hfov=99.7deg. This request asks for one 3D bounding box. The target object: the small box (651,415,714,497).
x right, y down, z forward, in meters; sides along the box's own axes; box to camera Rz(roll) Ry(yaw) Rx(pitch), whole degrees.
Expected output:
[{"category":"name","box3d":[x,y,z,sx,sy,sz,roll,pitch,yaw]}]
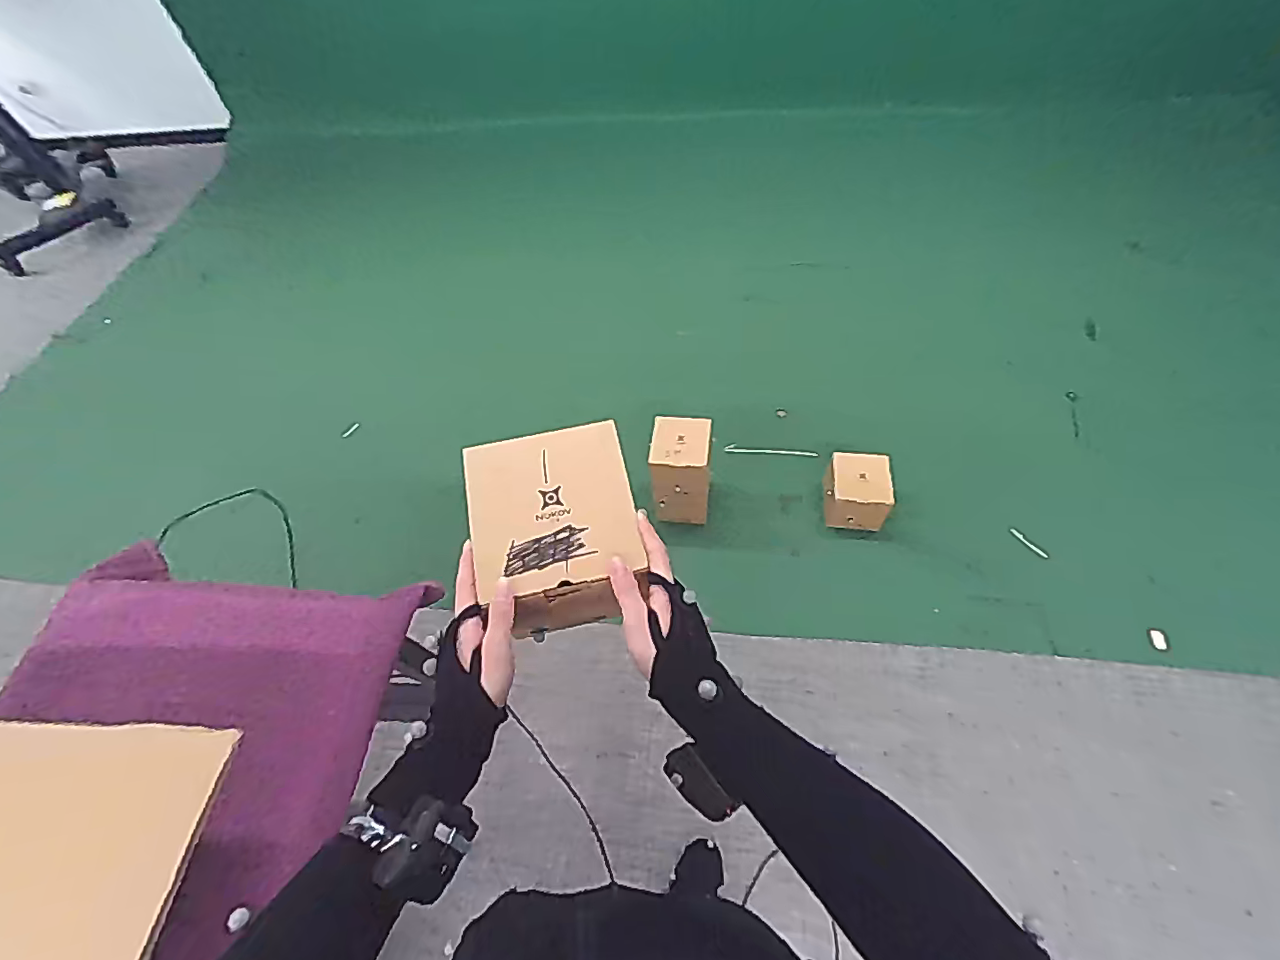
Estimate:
[{"category":"small box","box3d":[0.130,-0.072,1.614,0.168,0.176,0.179,4,58,10]}]

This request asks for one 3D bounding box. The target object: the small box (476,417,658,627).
[{"category":"small box","box3d":[-0.075,0.058,0.611,0.168,0.176,0.179,-11,63,-5]}]

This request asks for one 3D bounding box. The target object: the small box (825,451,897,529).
[{"category":"small box","box3d":[0.681,0.031,1.687,0.168,0.176,0.179,4,58,8]}]
